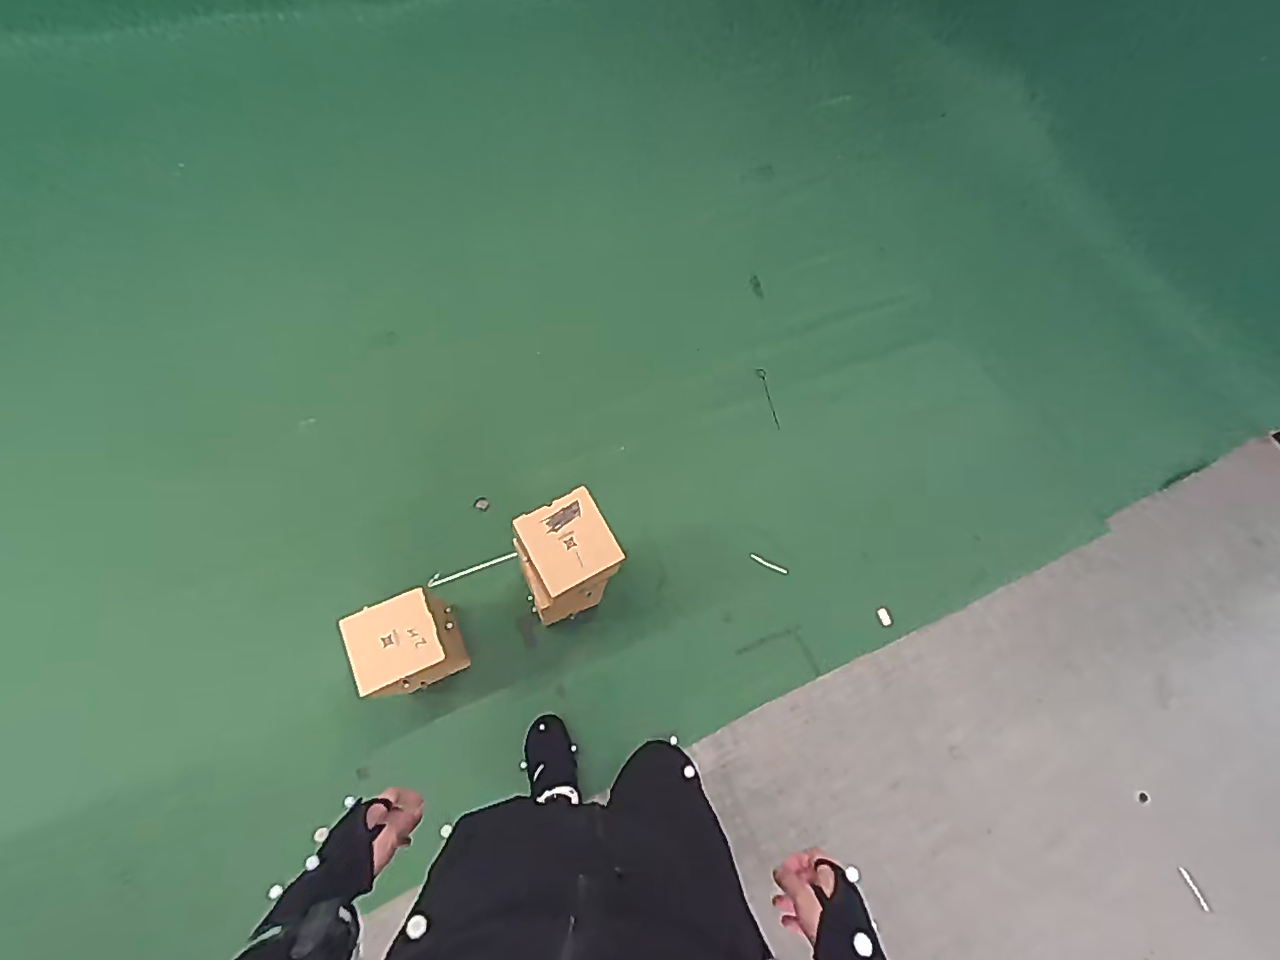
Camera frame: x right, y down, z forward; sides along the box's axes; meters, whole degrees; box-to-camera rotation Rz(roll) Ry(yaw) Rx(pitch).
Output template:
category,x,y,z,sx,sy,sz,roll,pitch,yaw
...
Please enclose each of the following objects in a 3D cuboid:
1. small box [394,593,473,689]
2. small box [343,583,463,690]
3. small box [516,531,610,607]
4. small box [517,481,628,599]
category,x,y,z,sx,sy,sz,roll,pitch,yaw
small box,-0.531,0.400,1.346,0.168,0.176,0.179,-22,73,-14
small box,-0.513,0.348,1.191,0.179,0.176,0.168,-22,74,-14
small box,-0.183,0.193,1.291,0.168,0.176,0.179,-21,74,-16
small box,-0.147,0.133,1.143,0.168,0.176,0.179,-27,77,-17
